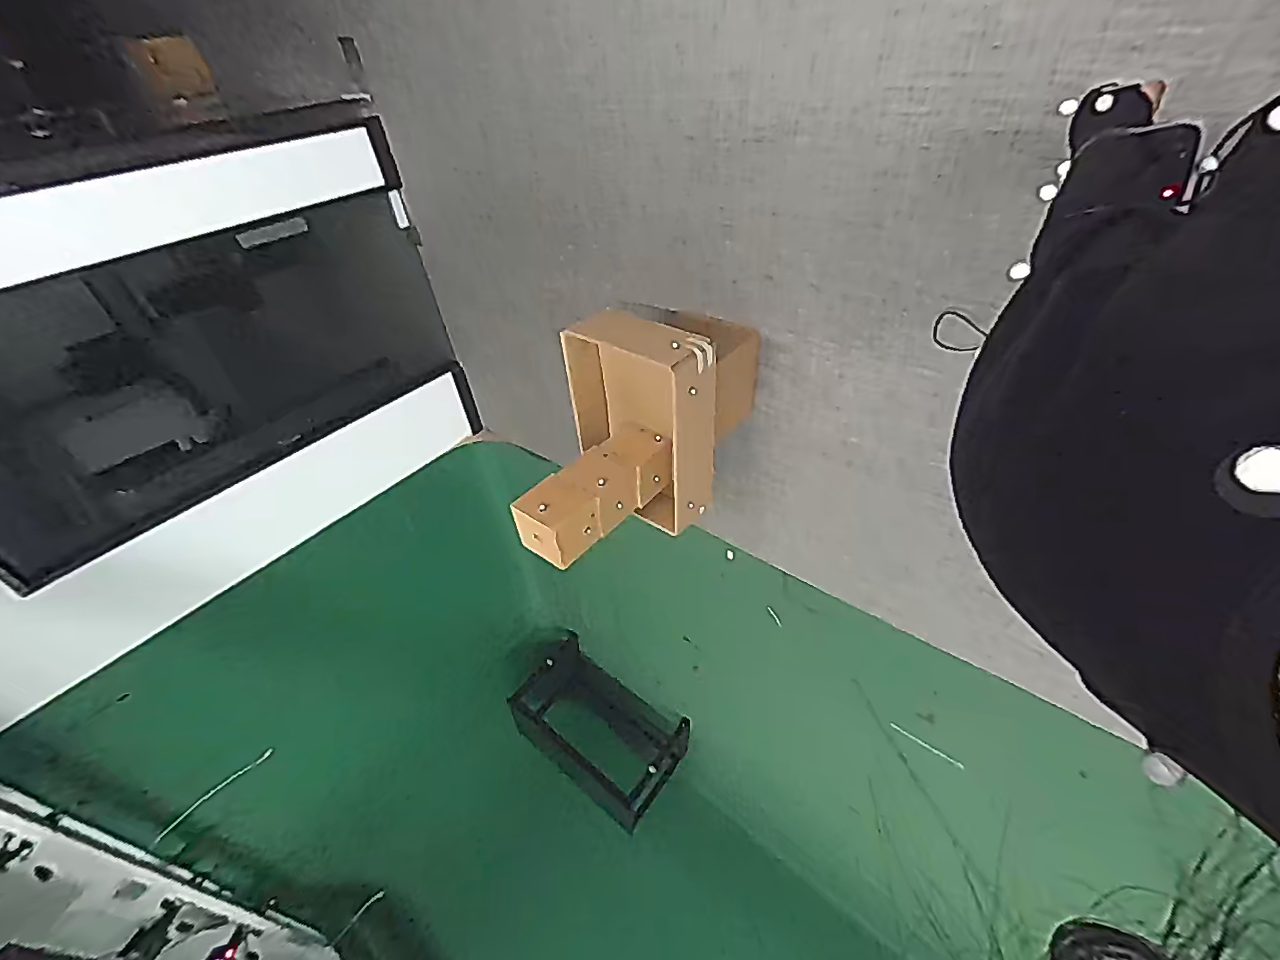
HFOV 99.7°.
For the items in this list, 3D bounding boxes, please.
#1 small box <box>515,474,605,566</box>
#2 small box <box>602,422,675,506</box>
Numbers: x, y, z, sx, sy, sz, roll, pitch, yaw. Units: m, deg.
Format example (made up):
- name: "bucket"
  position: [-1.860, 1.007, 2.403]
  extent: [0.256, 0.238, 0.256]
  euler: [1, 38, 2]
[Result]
- name: "small box"
  position: [-0.223, 0.105, 1.544]
  extent: [0.179, 0.176, 0.168]
  euler: [25, 139, 32]
- name: "small box"
  position: [0.001, -0.058, 1.717]
  extent: [0.168, 0.176, 0.179]
  euler: [27, 140, 30]
